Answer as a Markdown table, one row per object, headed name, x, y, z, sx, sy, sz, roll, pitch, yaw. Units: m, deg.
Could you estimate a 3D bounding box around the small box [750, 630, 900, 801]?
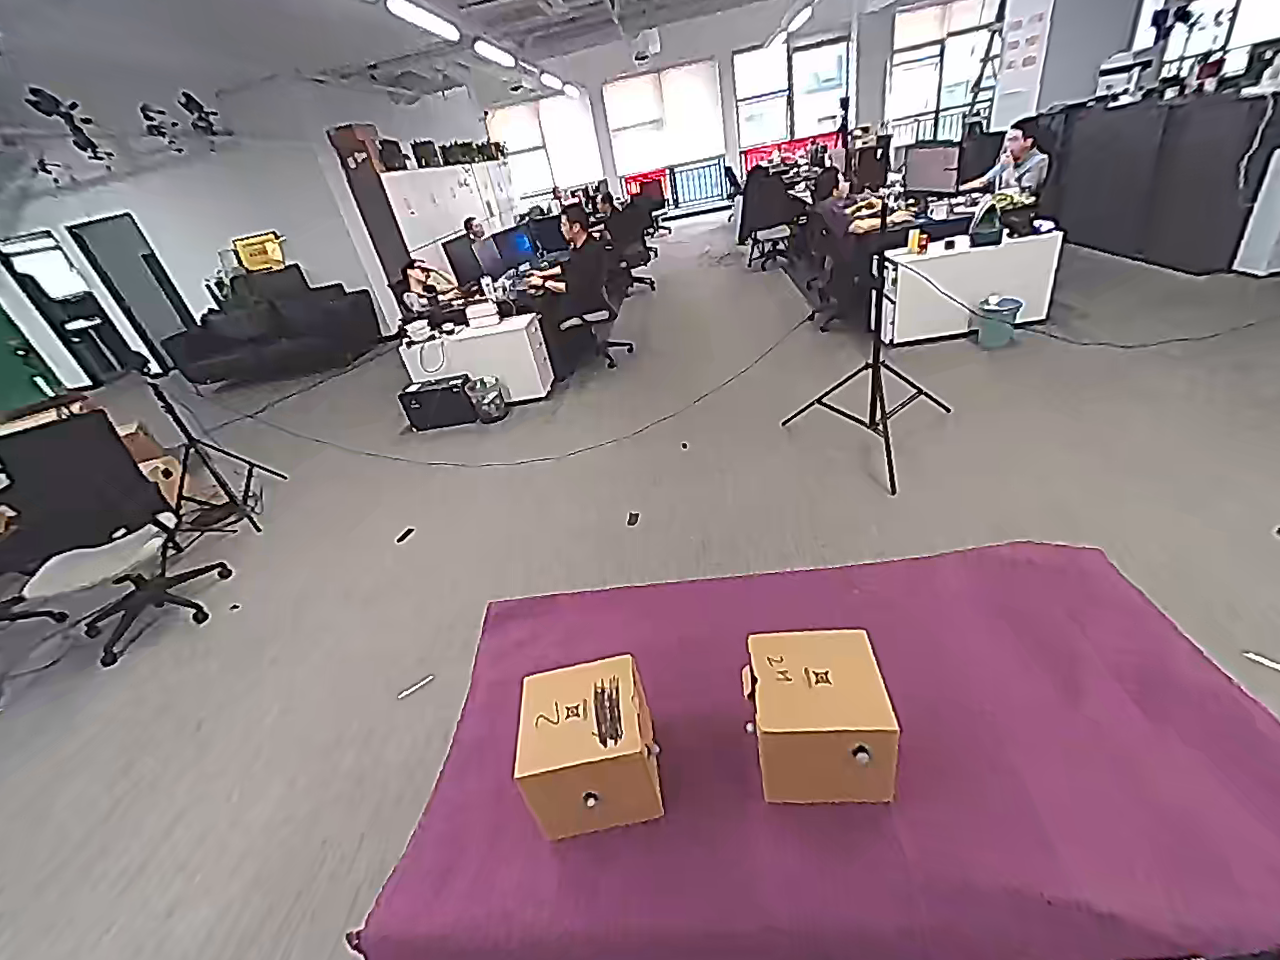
| name | x | y | z | sx | sy | sz | roll | pitch | yaw |
| --- | --- | --- | --- | --- | --- | --- | --- | --- | --- |
| small box | 0.260 | 0.344 | 0.790 | 0.179 | 0.176 | 0.168 | -7 | 30 | 10 |
